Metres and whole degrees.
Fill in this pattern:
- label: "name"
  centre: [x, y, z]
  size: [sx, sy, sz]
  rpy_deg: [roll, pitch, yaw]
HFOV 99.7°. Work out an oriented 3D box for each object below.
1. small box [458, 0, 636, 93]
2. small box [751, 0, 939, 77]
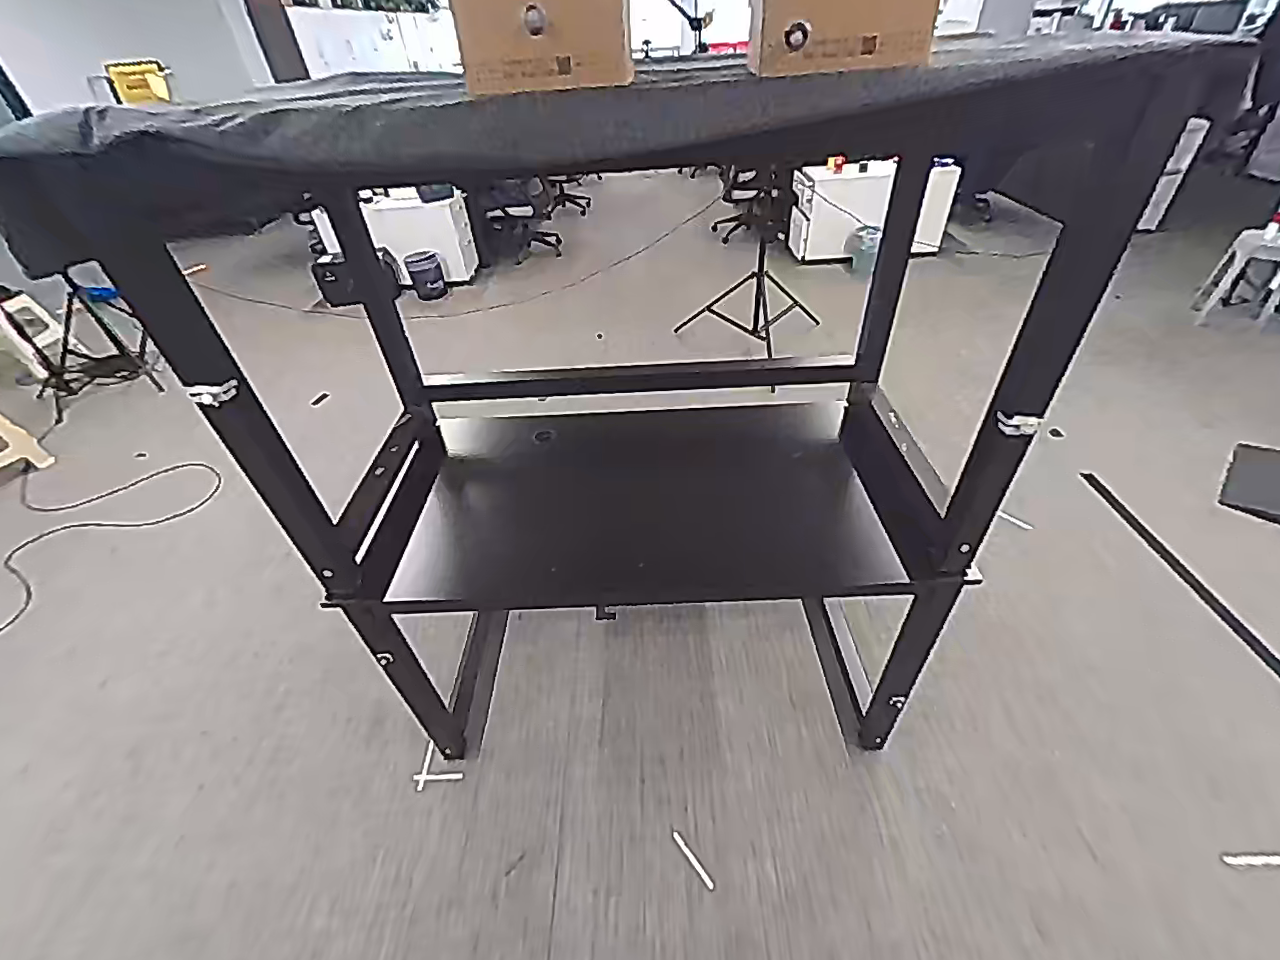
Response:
- label: "small box"
  centre: [-0.093, -0.512, 0.565]
  size: [0.168, 0.176, 0.179]
  rpy_deg: [-2, 38, 4]
- label: "small box"
  centre: [0.206, -0.526, 0.555]
  size: [0.168, 0.176, 0.179]
  rpy_deg: [0, 38, 6]
